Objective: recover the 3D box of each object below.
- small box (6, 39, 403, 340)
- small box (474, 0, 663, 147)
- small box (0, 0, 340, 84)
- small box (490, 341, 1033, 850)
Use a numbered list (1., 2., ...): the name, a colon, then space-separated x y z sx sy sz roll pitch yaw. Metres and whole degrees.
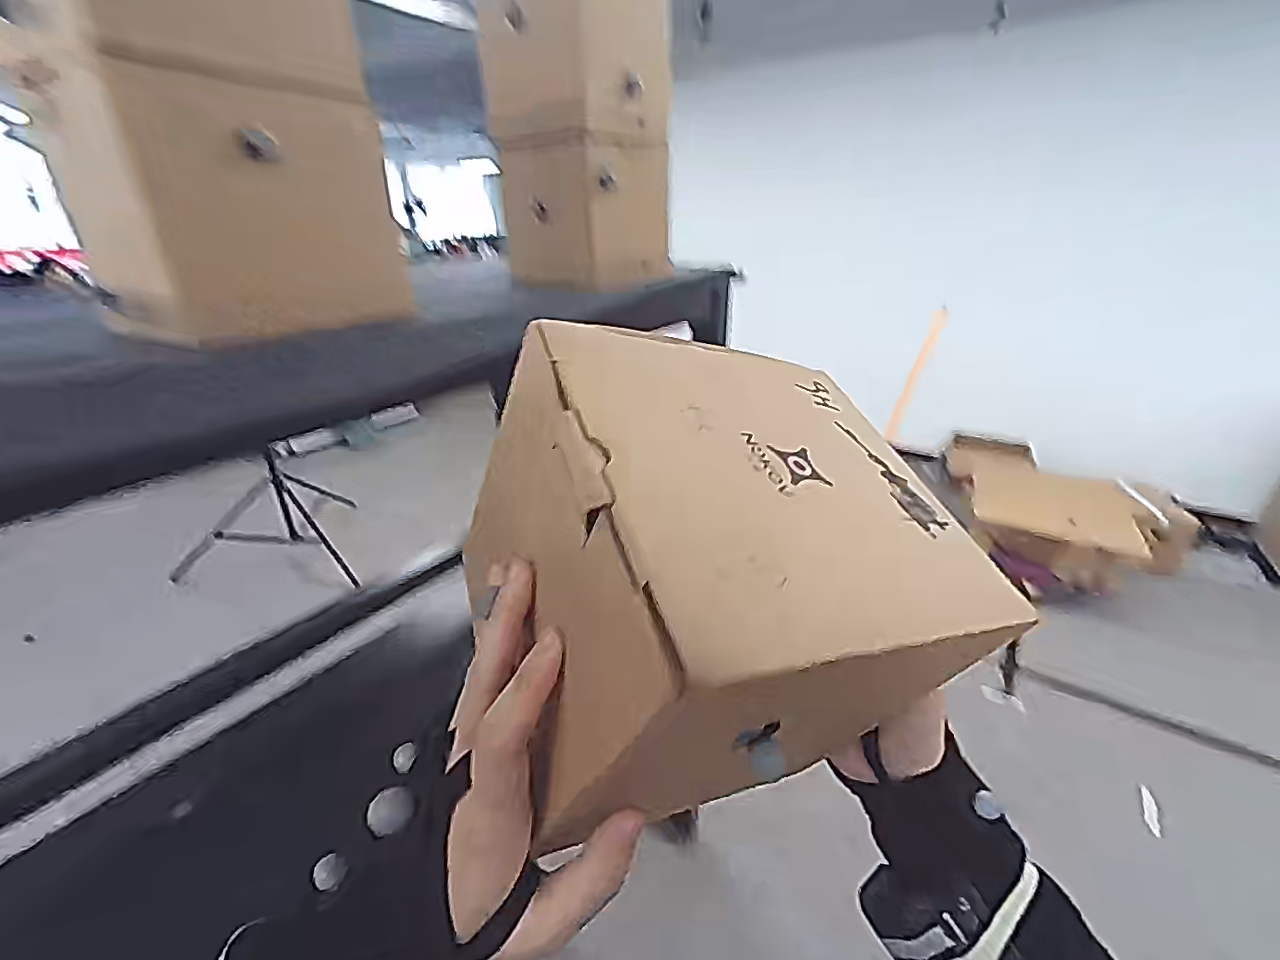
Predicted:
1. small box: -0.324 -0.213 0.433 0.168 0.176 0.179 14 29 29
2. small box: -0.087 -0.523 0.680 0.179 0.176 0.168 19 34 35
3. small box: -0.337 -0.361 0.367 0.168 0.176 0.179 10 29 25
4. small box: 0.029 0.056 0.274 0.179 0.176 0.168 1 47 -29
